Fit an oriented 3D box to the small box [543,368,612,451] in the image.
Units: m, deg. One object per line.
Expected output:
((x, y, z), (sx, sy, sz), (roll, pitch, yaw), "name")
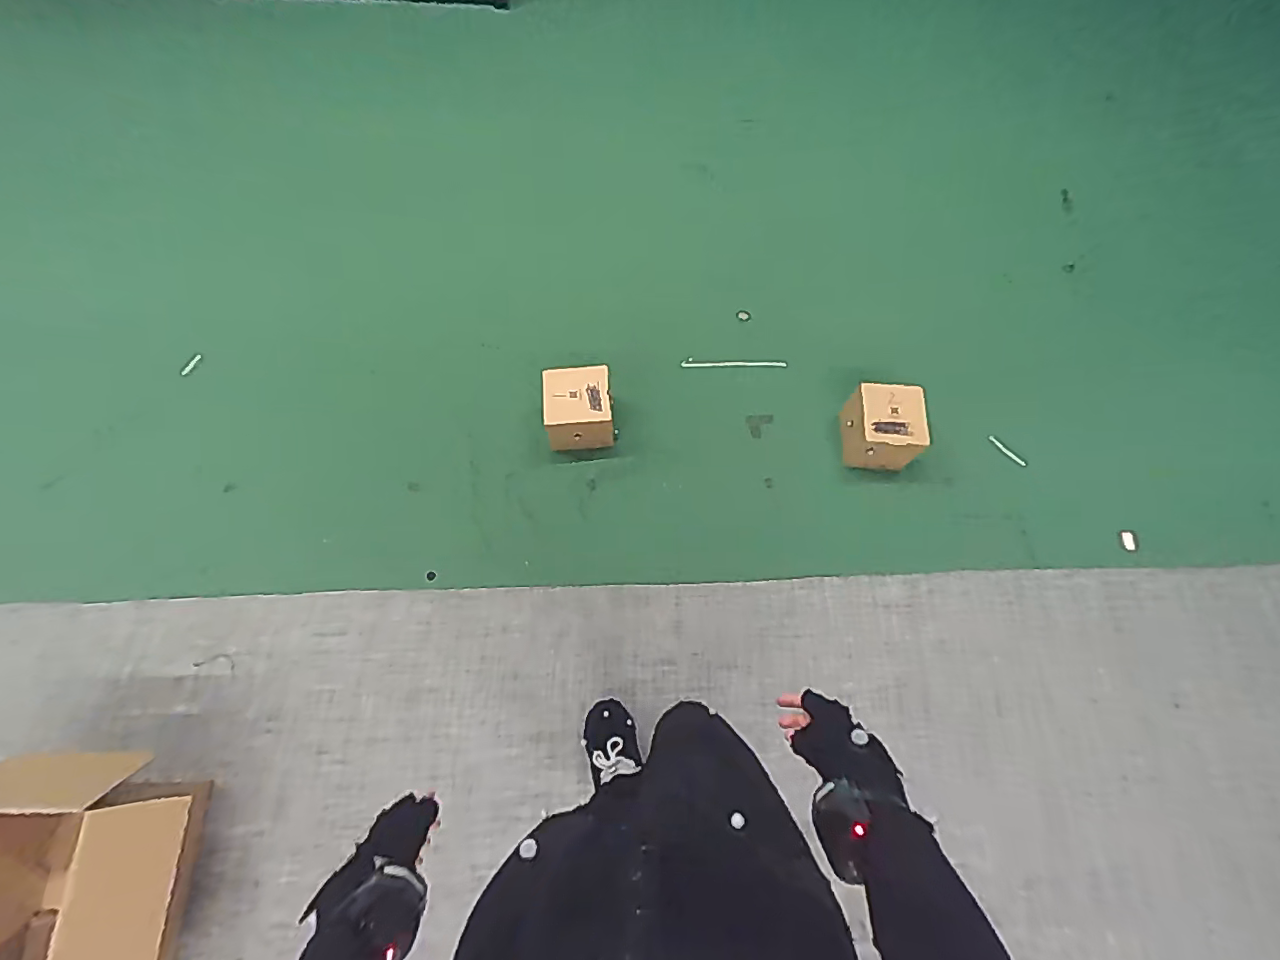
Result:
((-0.166, -0.189, 1.477), (0.179, 0.176, 0.168), (-4, 70, -1), "small box")
